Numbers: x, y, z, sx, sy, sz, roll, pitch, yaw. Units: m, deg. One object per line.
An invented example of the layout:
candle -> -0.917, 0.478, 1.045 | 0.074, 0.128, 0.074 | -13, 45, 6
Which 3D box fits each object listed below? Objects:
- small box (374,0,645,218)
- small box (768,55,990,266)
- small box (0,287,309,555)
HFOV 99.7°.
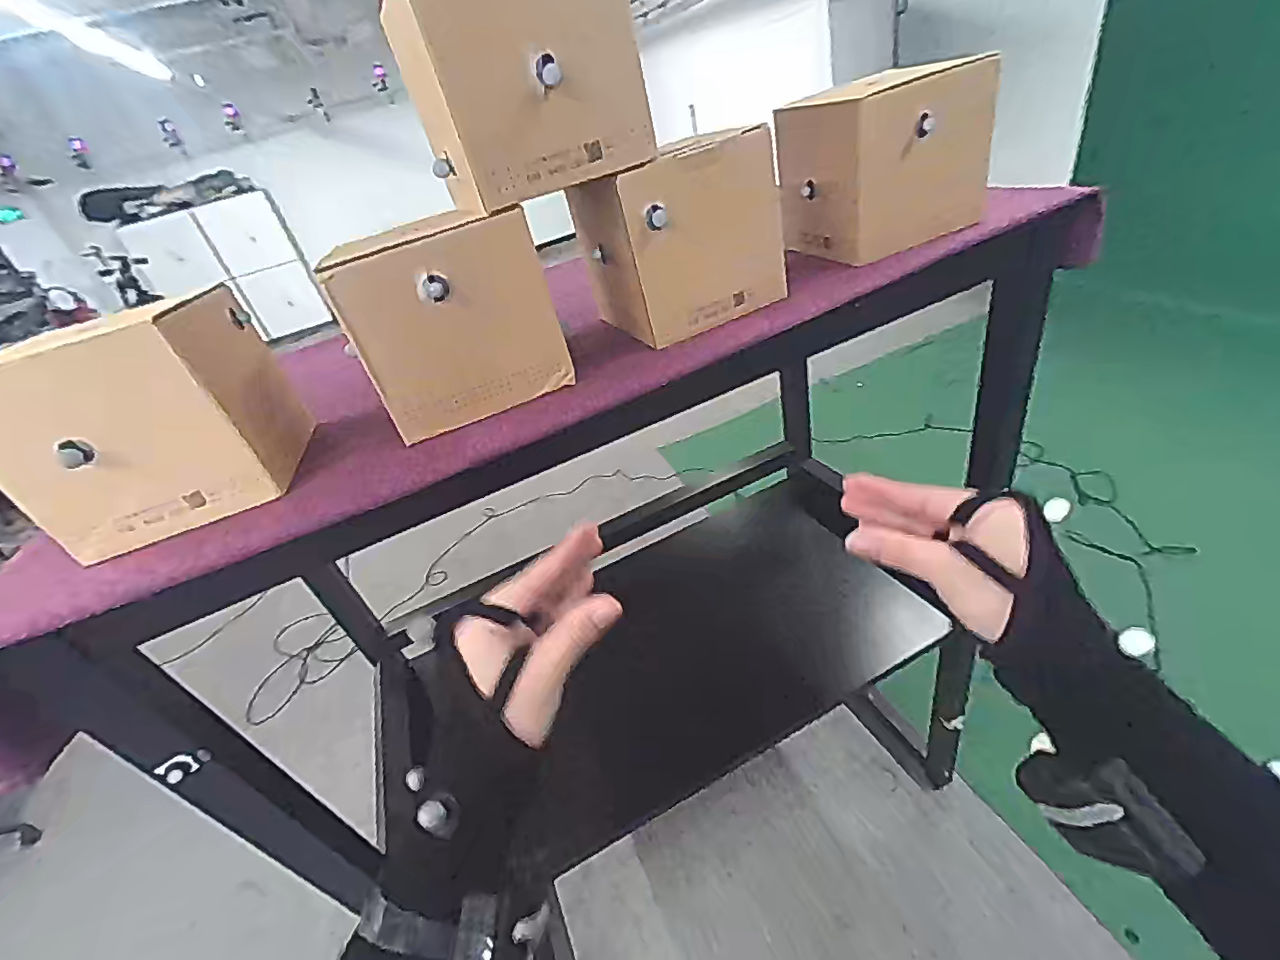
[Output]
small box -> -0.113, -0.346, 0.483 | 0.168, 0.176, 0.179 | -26, 35, -14
small box -> 0.279, -0.374, 0.651 | 0.179, 0.176, 0.168 | -22, 35, -8
small box -> -0.437, -0.054, 0.491 | 0.168, 0.176, 0.179 | -22, 32, -9
